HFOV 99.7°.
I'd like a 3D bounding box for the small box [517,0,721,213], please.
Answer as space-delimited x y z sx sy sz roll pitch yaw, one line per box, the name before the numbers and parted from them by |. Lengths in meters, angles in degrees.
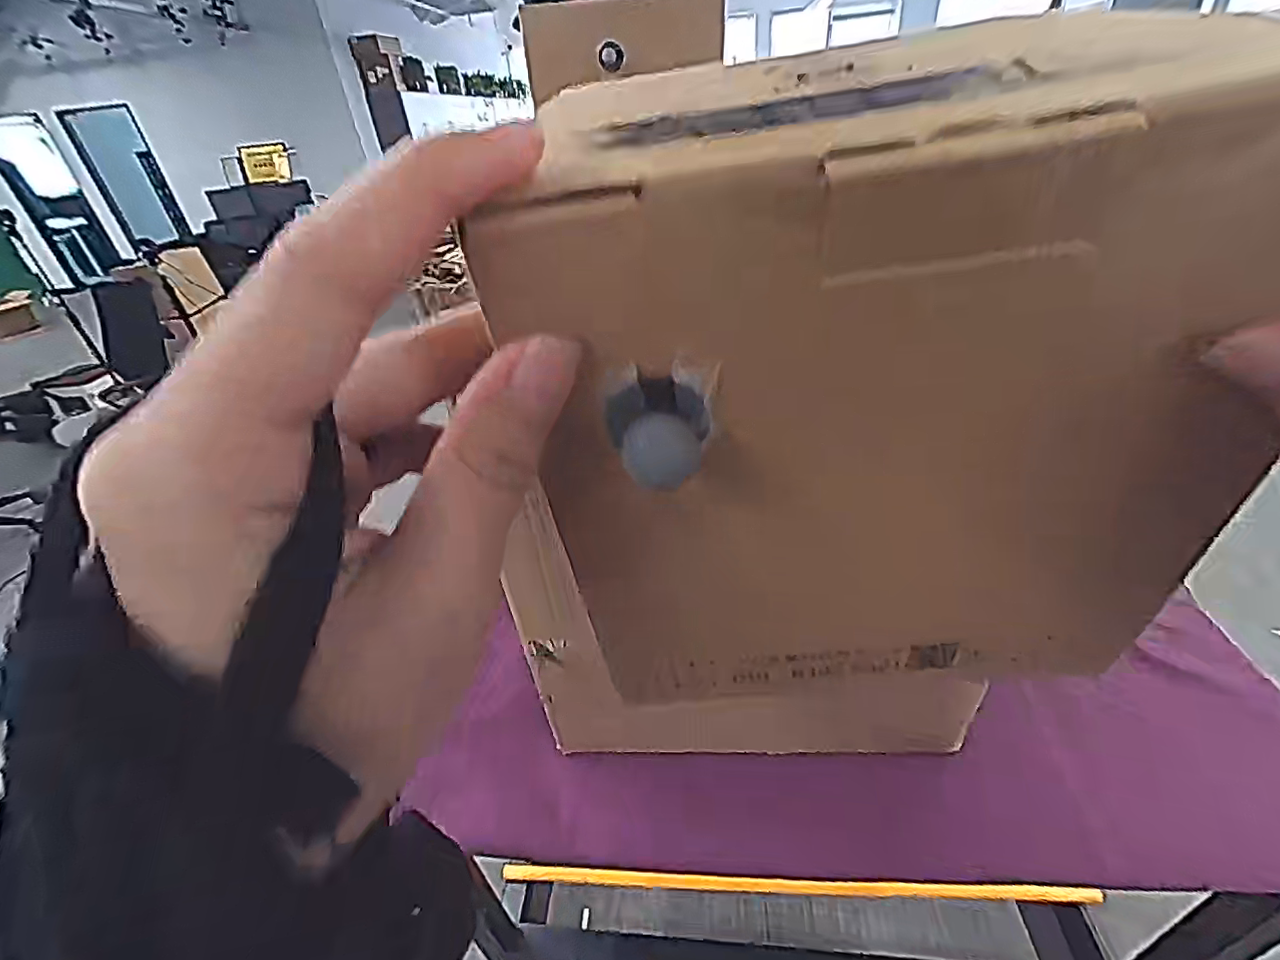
small box | -0.010 -0.381 0.557 0.179 0.176 0.168 -3 34 3
